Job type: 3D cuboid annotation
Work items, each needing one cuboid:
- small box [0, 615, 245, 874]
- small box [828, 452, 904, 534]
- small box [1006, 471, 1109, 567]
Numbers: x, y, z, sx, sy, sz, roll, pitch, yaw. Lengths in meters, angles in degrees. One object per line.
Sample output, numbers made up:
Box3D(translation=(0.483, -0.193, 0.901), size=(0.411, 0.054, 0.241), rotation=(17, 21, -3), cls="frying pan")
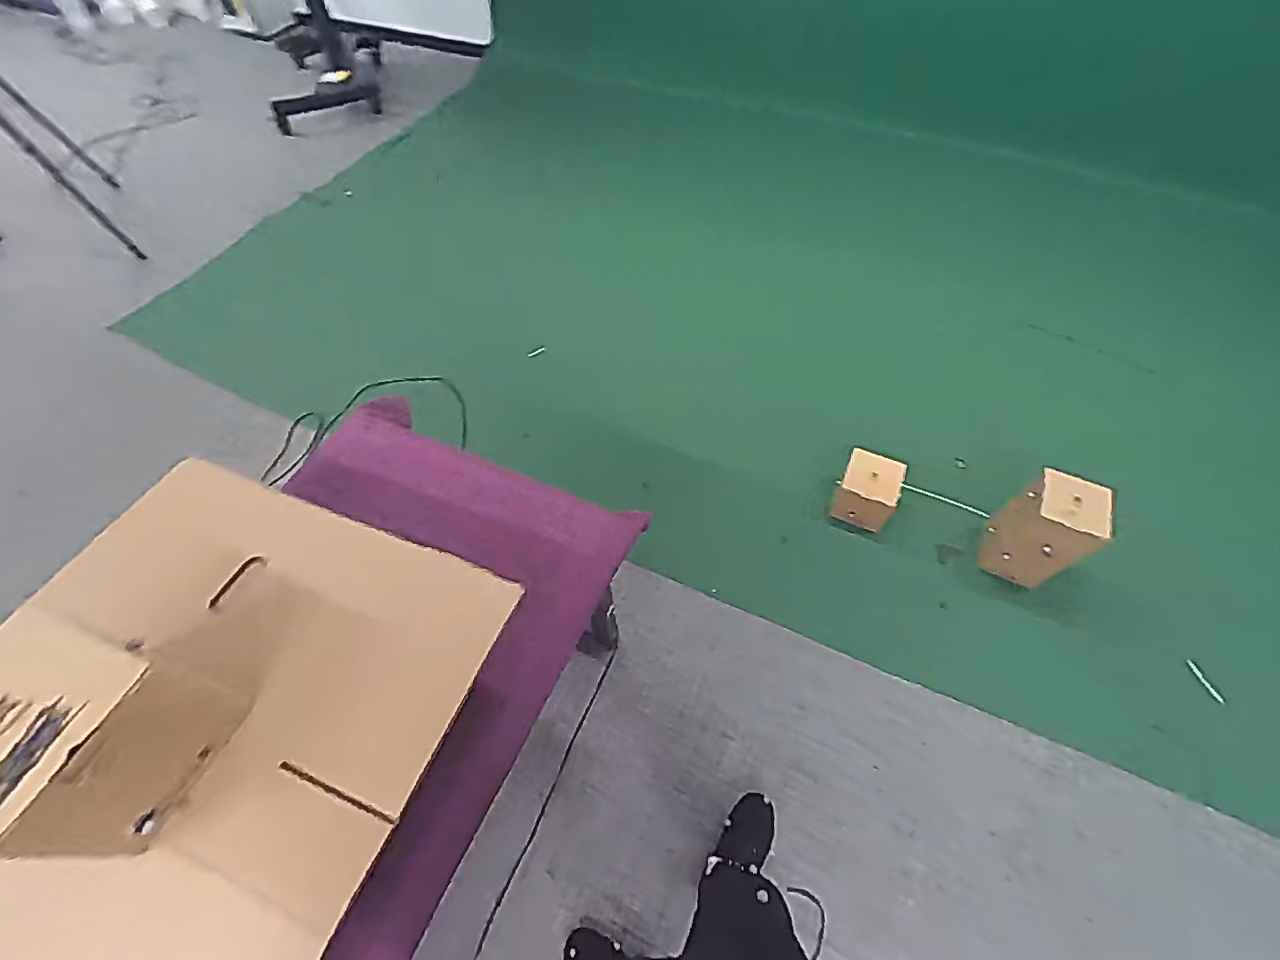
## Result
Box3D(translation=(-0.565, 0.266, 0.550), size=(0.179, 0.176, 0.168), rotation=(17, 57, 12), cls="small box")
Box3D(translation=(0.731, 0.045, 1.761), size=(0.168, 0.176, 0.179), rotation=(21, 60, 14), cls="small box")
Box3D(translation=(1.161, 0.110, 1.512), size=(0.168, 0.176, 0.179), rotation=(23, 60, 15), cls="small box")
